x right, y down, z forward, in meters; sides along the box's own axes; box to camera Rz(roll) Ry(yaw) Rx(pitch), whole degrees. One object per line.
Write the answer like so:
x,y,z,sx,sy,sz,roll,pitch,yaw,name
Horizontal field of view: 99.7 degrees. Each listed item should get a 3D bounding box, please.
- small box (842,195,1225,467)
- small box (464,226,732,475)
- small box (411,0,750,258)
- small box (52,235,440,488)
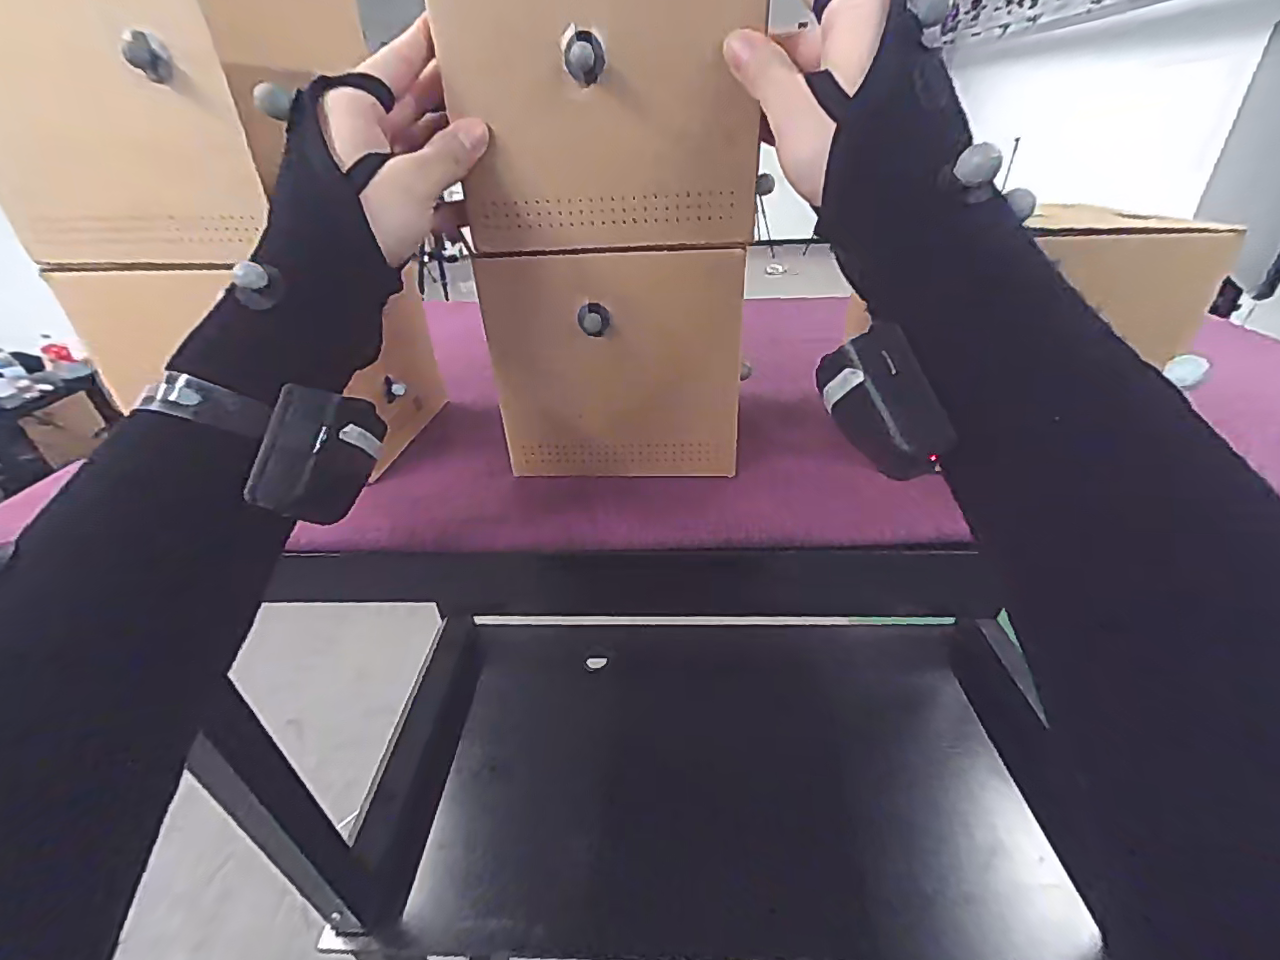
0.267,-0.120,0.429,0.179,0.176,0.168,-1,32,7,small box
-0.017,-0.114,0.447,0.179,0.176,0.168,0,33,5,small box
-0.024,-0.253,0.359,0.179,0.176,0.168,-2,33,4,small box
-0.298,-0.104,0.460,0.179,0.176,0.168,1,32,4,small box
